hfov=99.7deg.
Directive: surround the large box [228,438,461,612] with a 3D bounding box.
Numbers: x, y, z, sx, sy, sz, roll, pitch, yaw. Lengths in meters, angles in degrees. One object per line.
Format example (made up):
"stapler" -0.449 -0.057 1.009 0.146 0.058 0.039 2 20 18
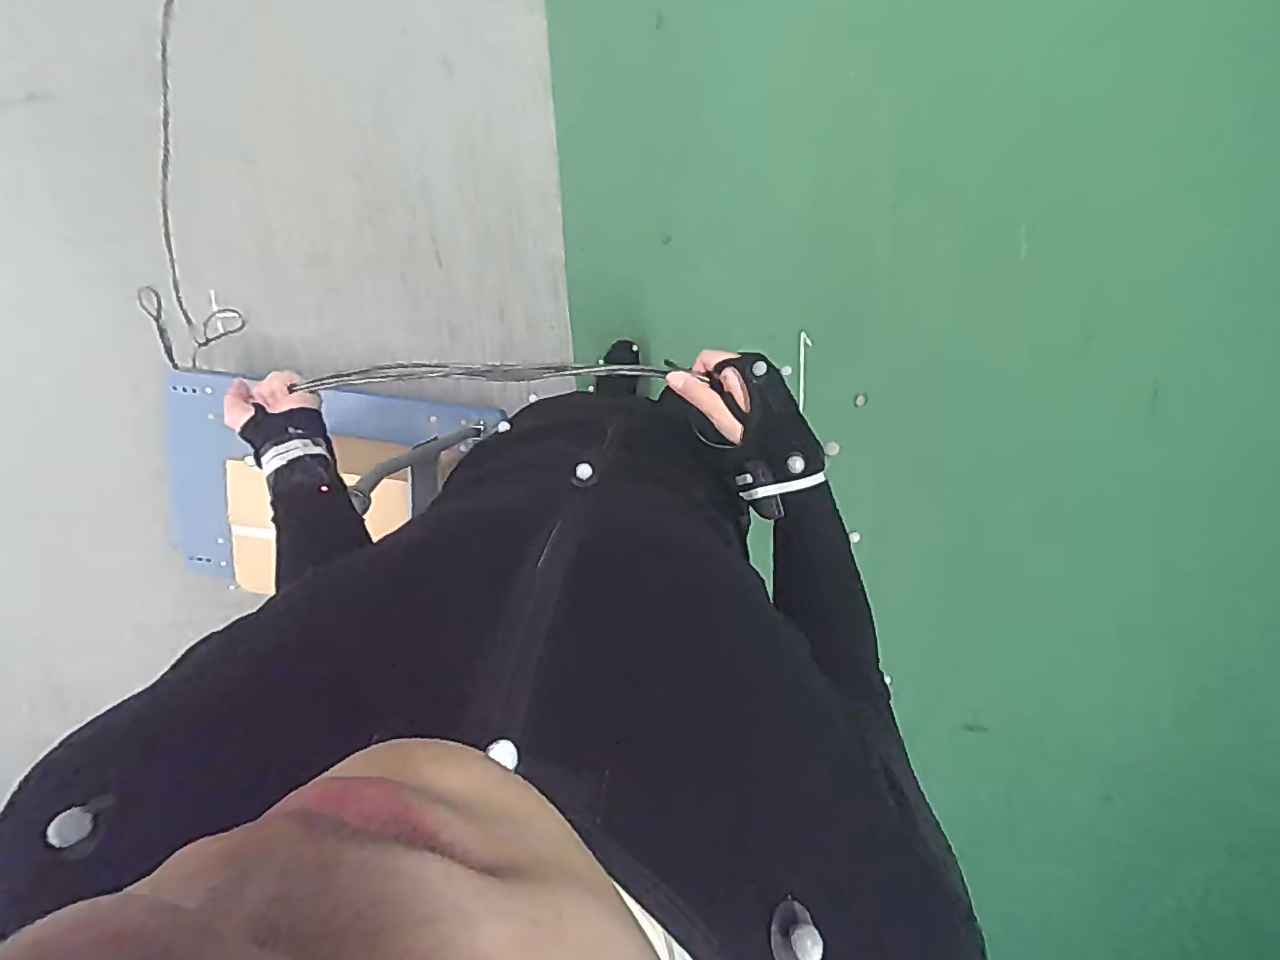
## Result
"large box" -0.684 0.093 1.320 0.408 0.320 0.320 7 104 -1
